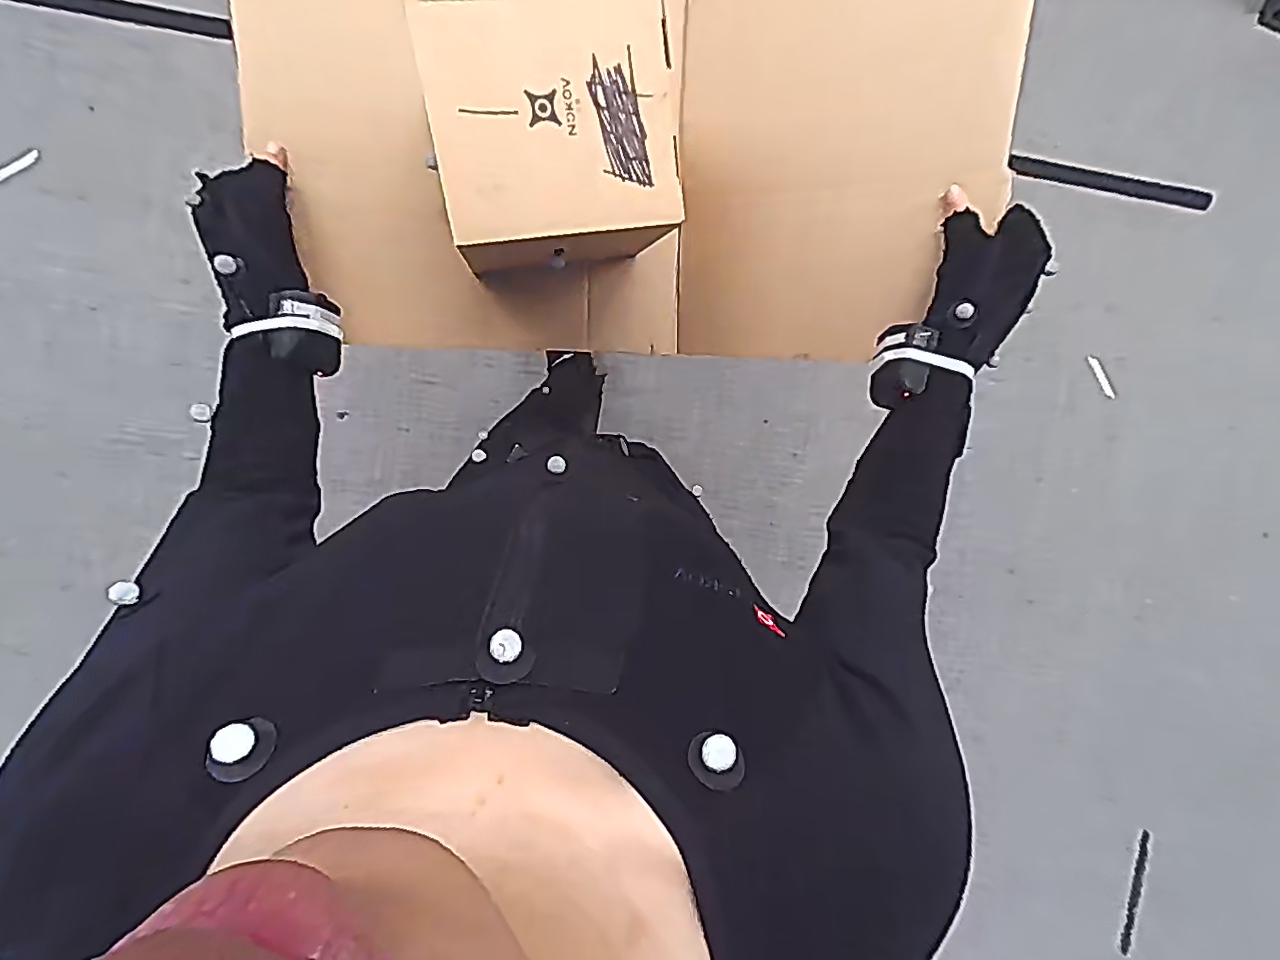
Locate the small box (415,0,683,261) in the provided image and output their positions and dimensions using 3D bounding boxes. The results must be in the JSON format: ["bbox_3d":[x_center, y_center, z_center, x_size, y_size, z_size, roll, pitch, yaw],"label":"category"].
[{"bbox_3d":[-0.075,-0.292,0.466,0.179,0.176,0.168,-10,107,-9],"label":"small box"}]
